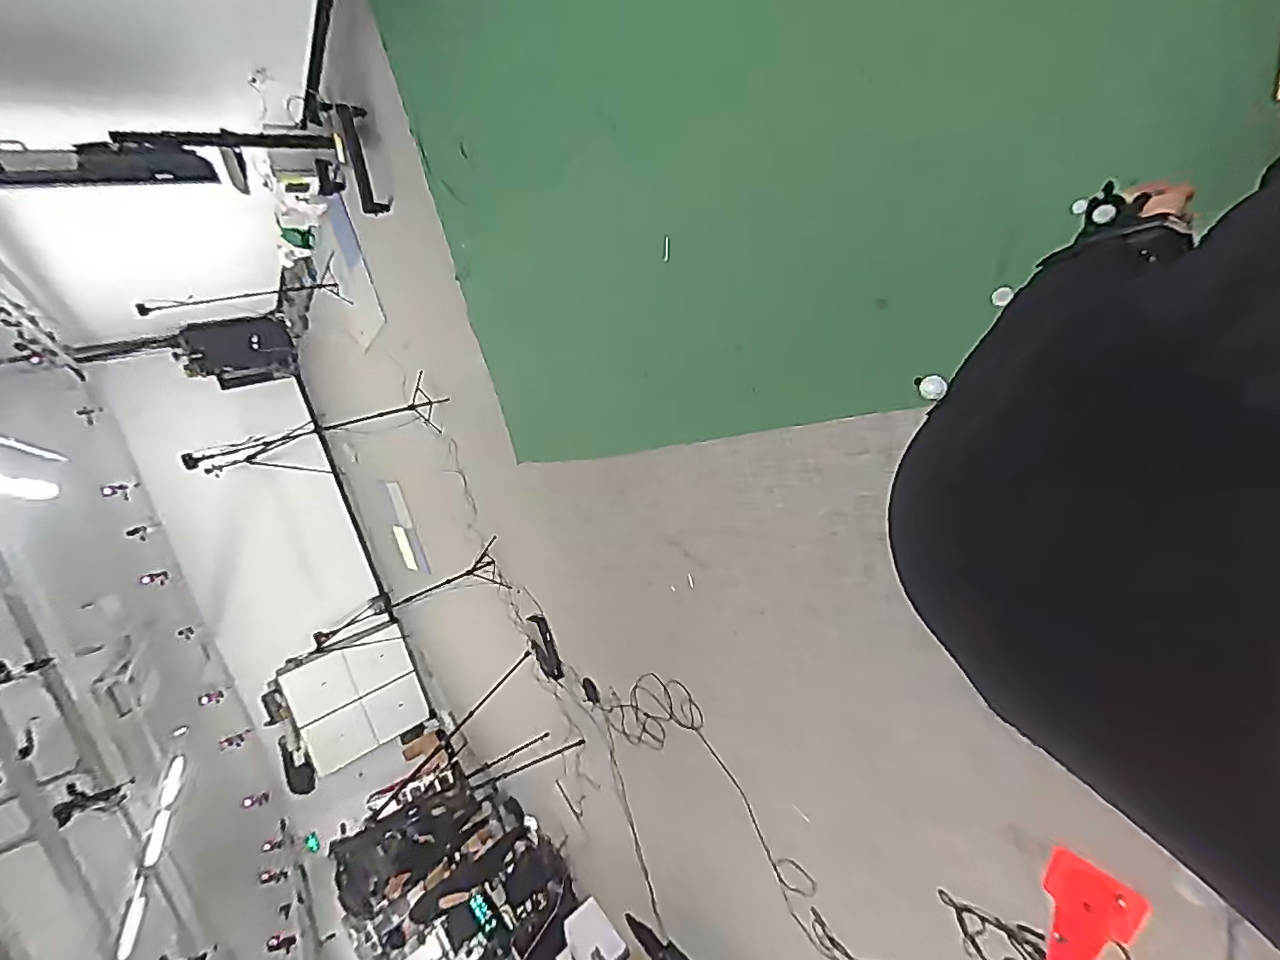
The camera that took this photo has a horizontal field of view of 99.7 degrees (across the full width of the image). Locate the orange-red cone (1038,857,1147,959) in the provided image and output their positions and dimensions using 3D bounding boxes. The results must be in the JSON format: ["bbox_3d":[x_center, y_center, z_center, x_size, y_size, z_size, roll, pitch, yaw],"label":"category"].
[{"bbox_3d":[1.049,1.167,1.328,0.199,0.360,0.198,26,127,46],"label":"orange-red cone"}]
